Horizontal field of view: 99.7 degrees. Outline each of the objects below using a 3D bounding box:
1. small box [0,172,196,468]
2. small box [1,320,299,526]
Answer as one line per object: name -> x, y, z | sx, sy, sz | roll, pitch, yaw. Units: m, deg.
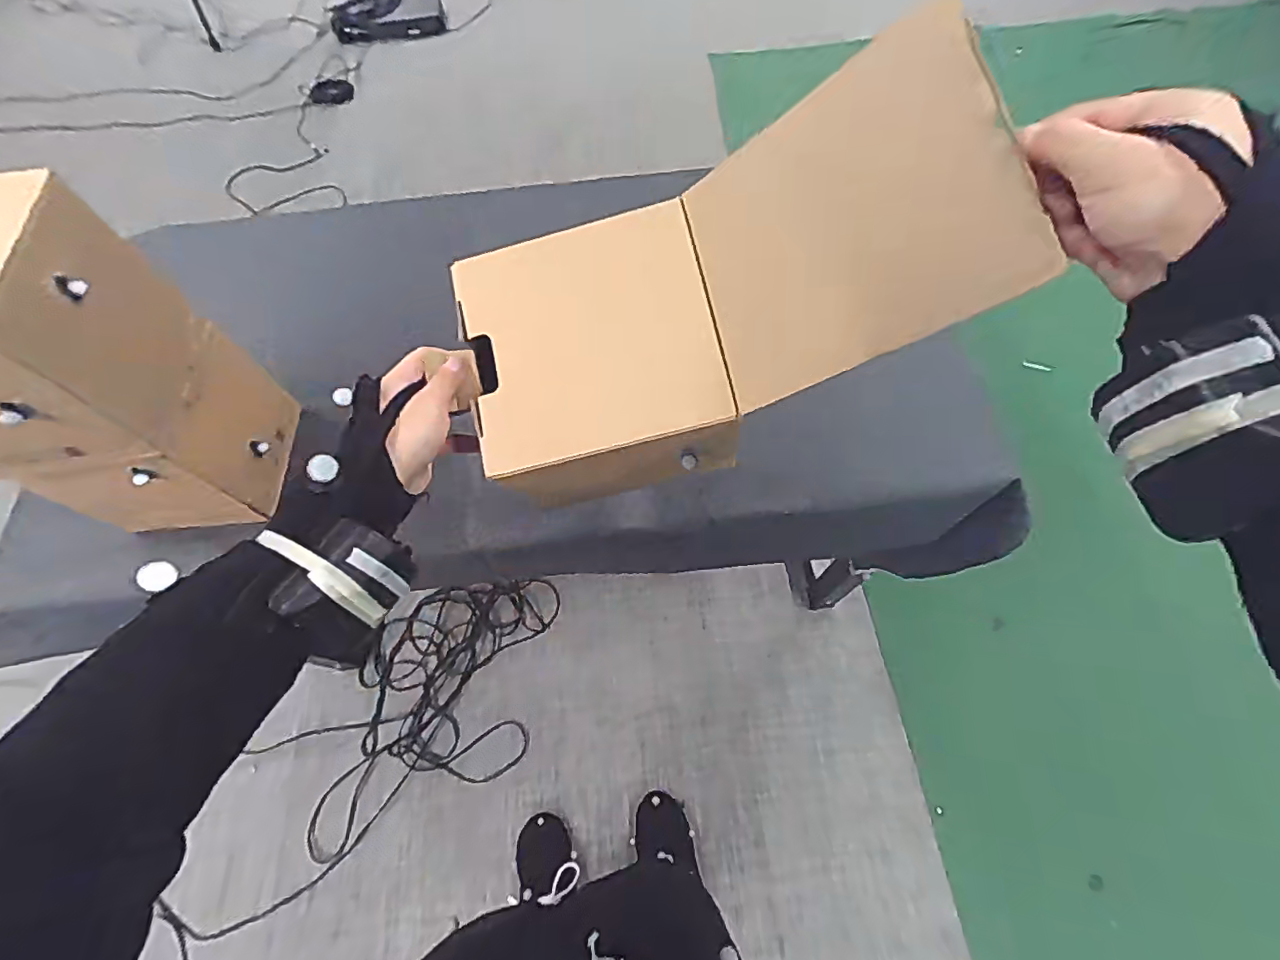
small box -> -0.532, -0.123, 0.461 | 0.168, 0.176, 0.179 | -9, 62, -4
small box -> -0.533, -0.055, 0.609 | 0.179, 0.176, 0.168 | -4, 63, 0
